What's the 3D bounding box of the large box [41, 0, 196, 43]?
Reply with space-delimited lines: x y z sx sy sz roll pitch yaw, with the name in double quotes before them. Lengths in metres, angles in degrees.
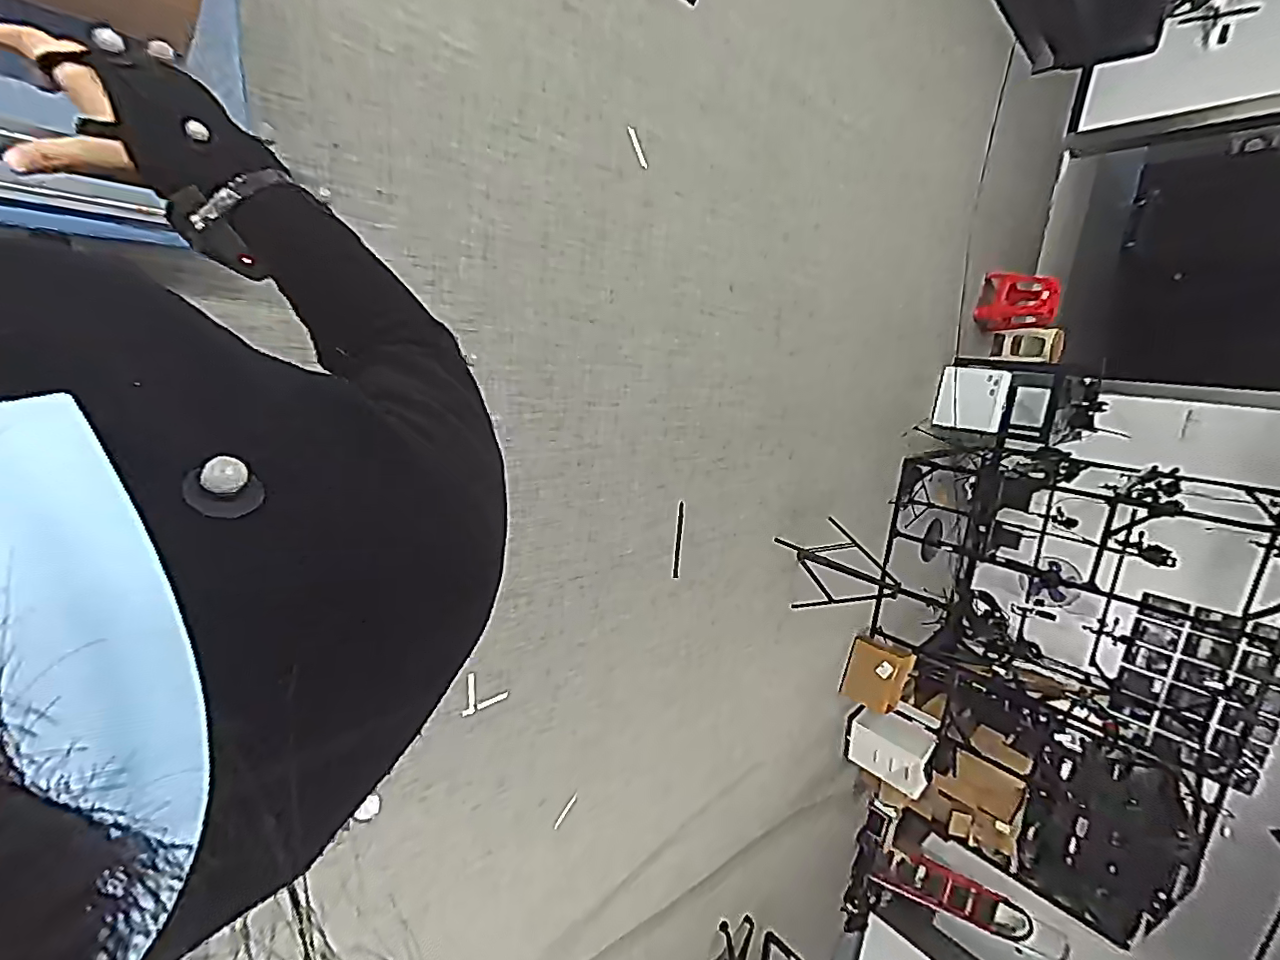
"large box" -0.821 -0.836 0.661 0.408 0.320 0.320 -8 107 -42
